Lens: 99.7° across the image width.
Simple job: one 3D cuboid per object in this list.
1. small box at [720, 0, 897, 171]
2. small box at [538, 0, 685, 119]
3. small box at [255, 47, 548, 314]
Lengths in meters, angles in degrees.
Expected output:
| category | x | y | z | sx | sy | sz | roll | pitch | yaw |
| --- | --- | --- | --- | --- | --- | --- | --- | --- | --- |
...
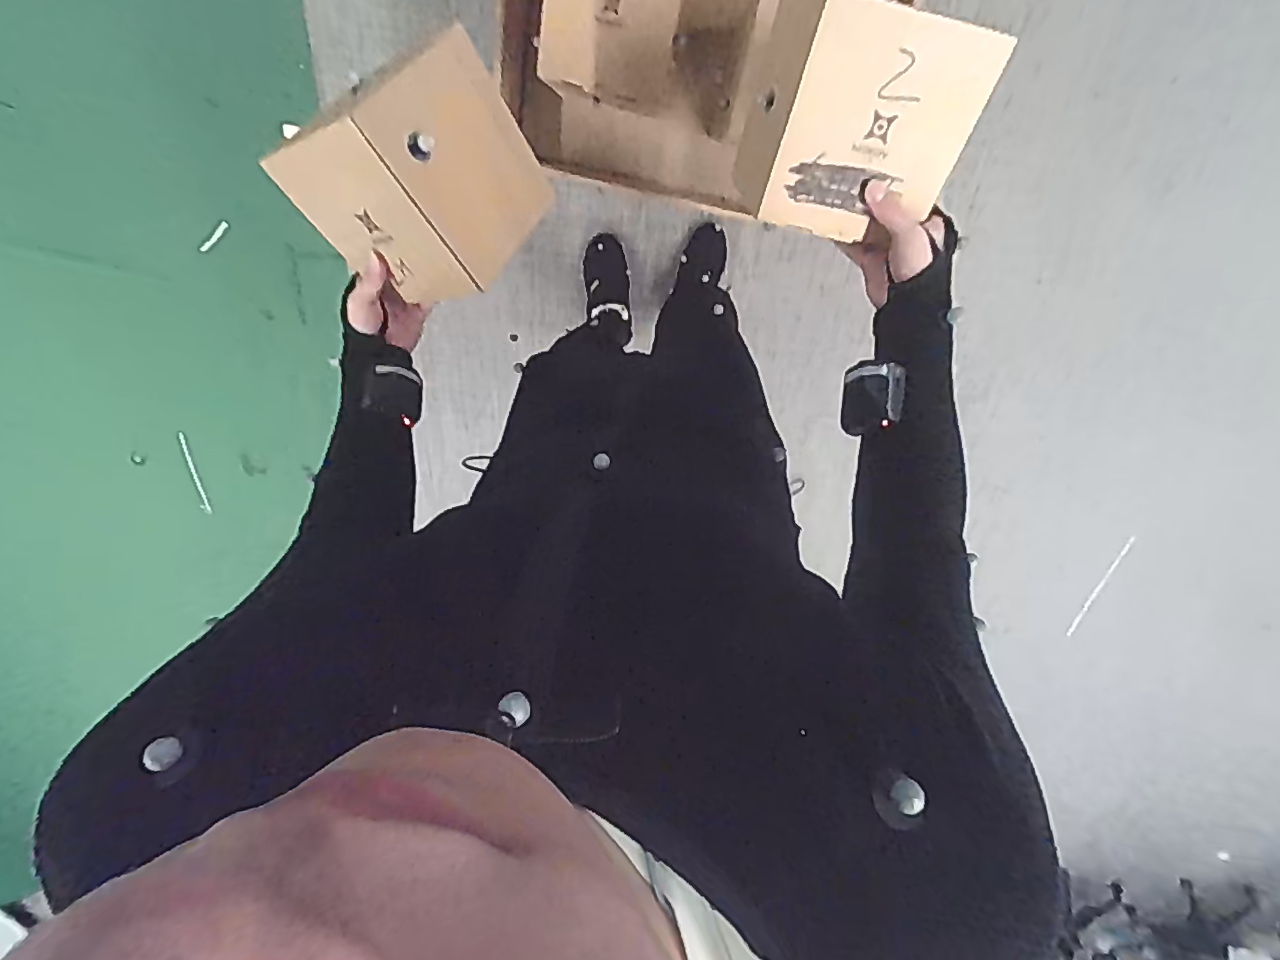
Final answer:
| category | x | y | z | sx | sy | sz | roll | pitch | yaw |
| --- | --- | --- | --- | --- | --- | --- | --- | --- | --- |
| small box | 0.215 | -0.547 | 0.750 | 0.168 | 0.176 | 0.179 | 11 | 120 | -5 |
| small box | -0.033 | -0.609 | 0.724 | 0.168 | 0.176 | 0.179 | 11 | 120 | -6 |
| small box | -0.229 | -0.301 | 0.556 | 0.168 | 0.176 | 0.179 | 7 | 149 | 34 |
